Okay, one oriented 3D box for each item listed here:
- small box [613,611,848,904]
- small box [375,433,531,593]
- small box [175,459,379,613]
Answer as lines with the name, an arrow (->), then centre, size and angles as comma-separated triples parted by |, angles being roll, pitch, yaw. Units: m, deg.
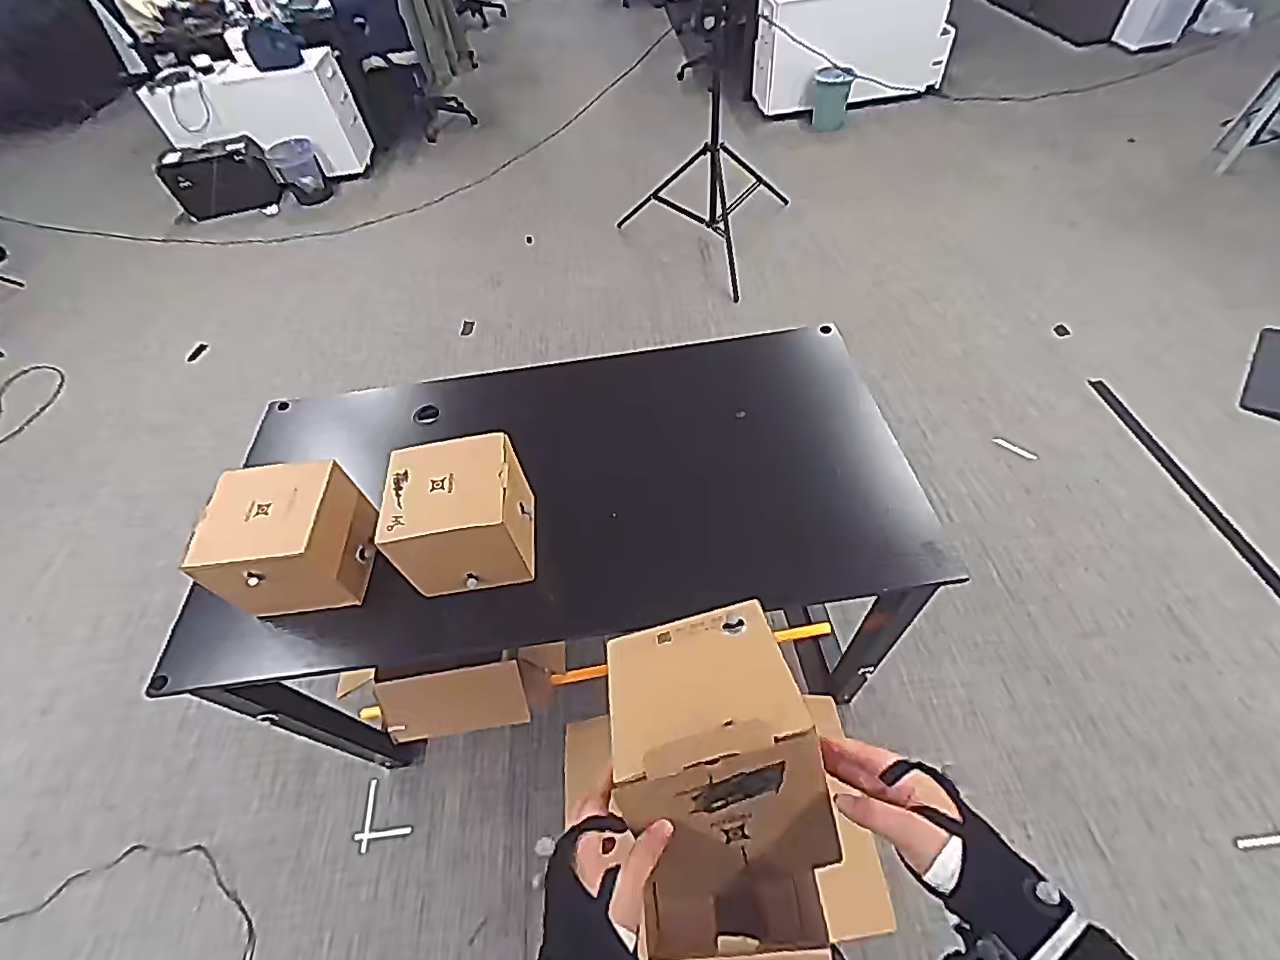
small box -> 0.076, 0.248, 0.519 | 0.168, 0.179, 0.176 | -17, 24, 2
small box -> -0.266, 0.054, 0.818 | 0.179, 0.176, 0.168 | -9, 53, -1
small box -> -0.527, 0.090, 0.820 | 0.179, 0.176, 0.168 | -6, 53, 0
